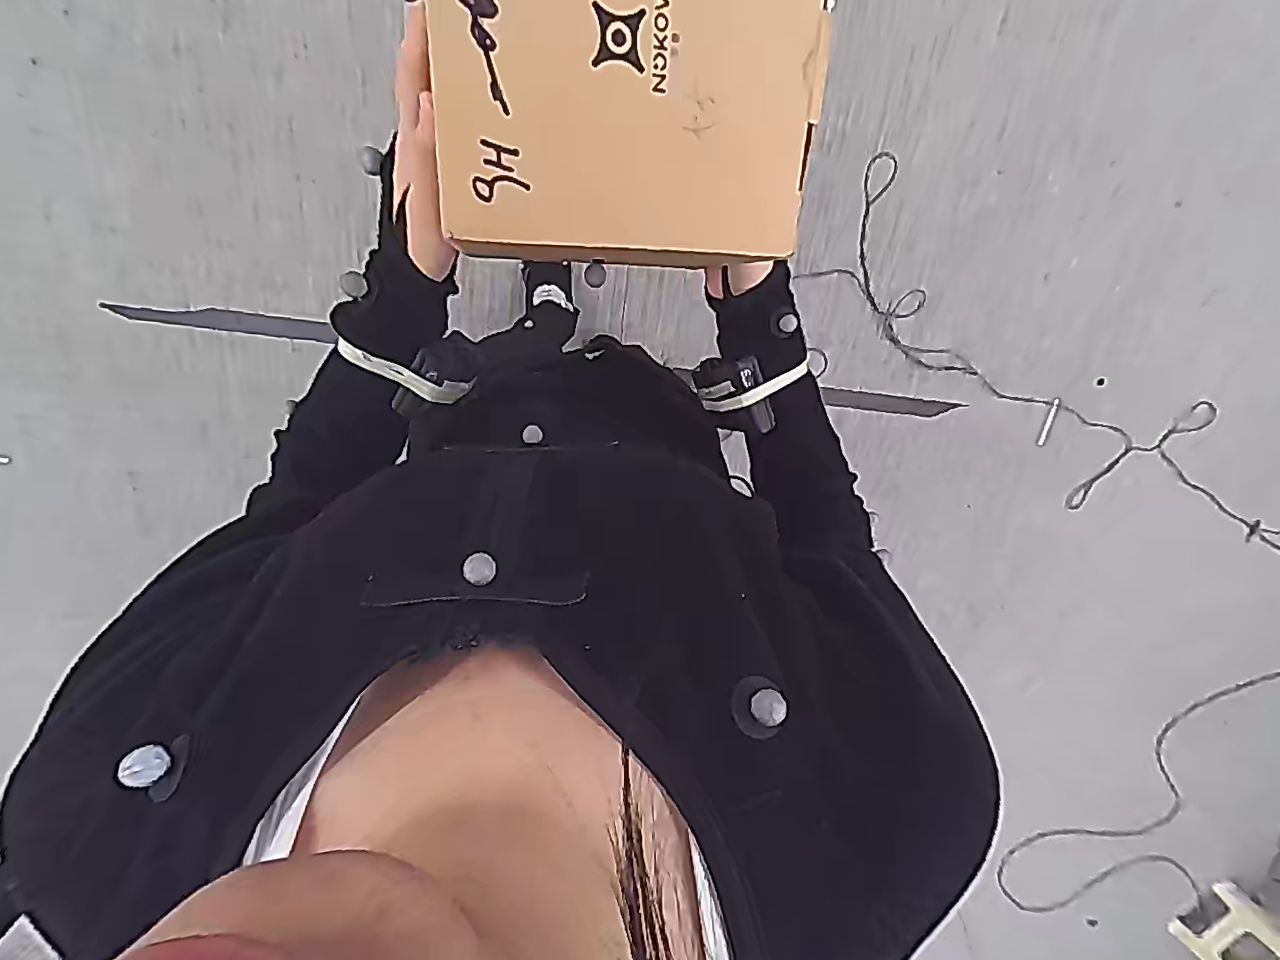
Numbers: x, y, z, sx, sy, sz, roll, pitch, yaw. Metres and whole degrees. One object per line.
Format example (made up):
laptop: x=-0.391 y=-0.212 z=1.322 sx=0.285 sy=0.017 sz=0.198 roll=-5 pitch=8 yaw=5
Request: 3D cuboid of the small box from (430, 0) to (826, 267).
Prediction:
small box: x=-0.019 y=-0.215 z=0.308 sx=0.179 sy=0.176 sz=0.168 roll=-3 pitch=110 yaw=-14
